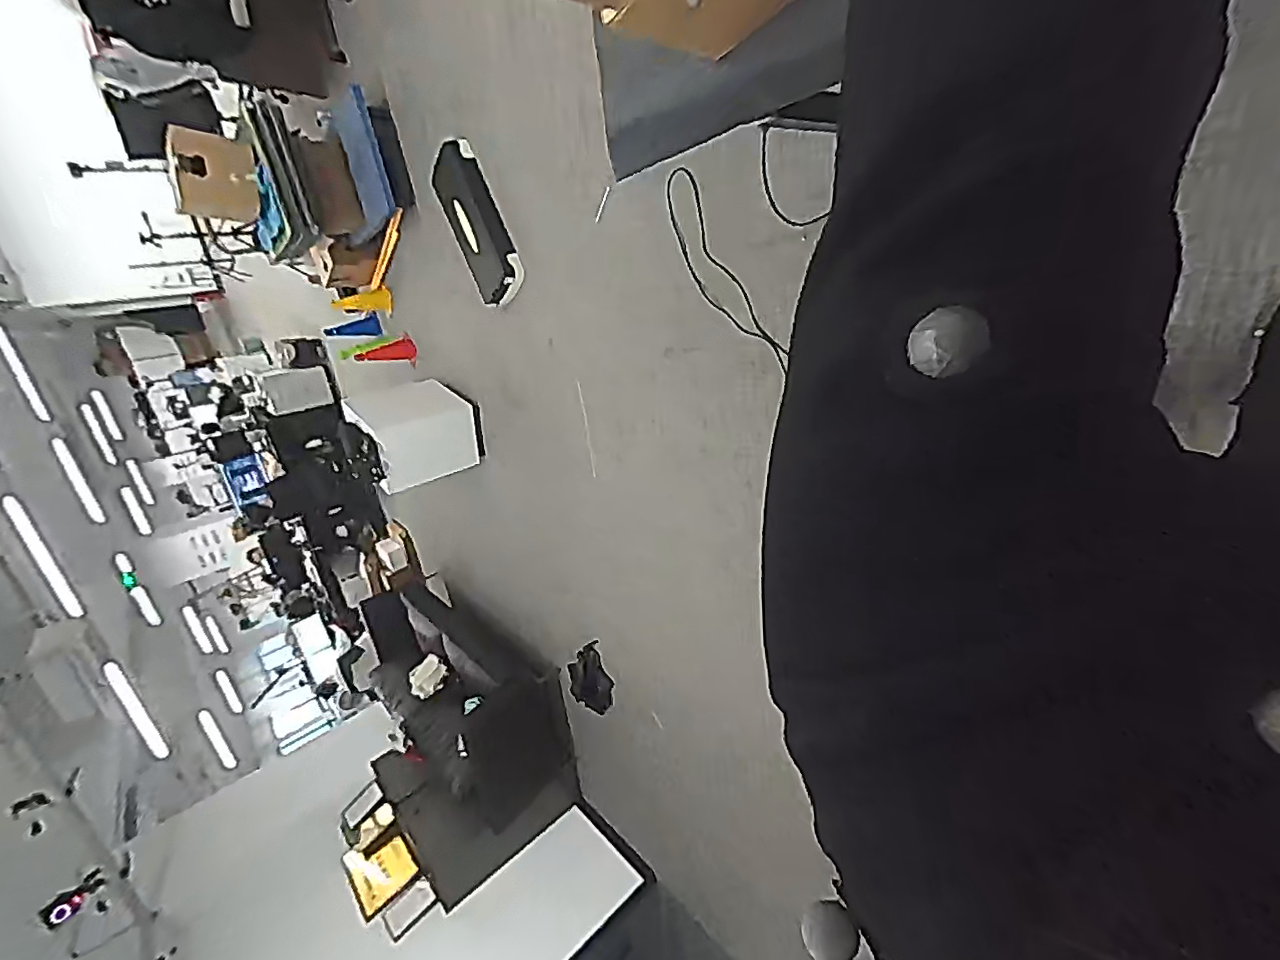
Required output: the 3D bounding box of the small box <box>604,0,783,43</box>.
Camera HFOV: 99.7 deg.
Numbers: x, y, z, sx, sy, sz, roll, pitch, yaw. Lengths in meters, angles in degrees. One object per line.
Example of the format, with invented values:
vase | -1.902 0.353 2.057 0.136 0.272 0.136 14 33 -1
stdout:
small box | 0.068 -0.528 0.470 0.179 0.176 0.168 3 111 51
